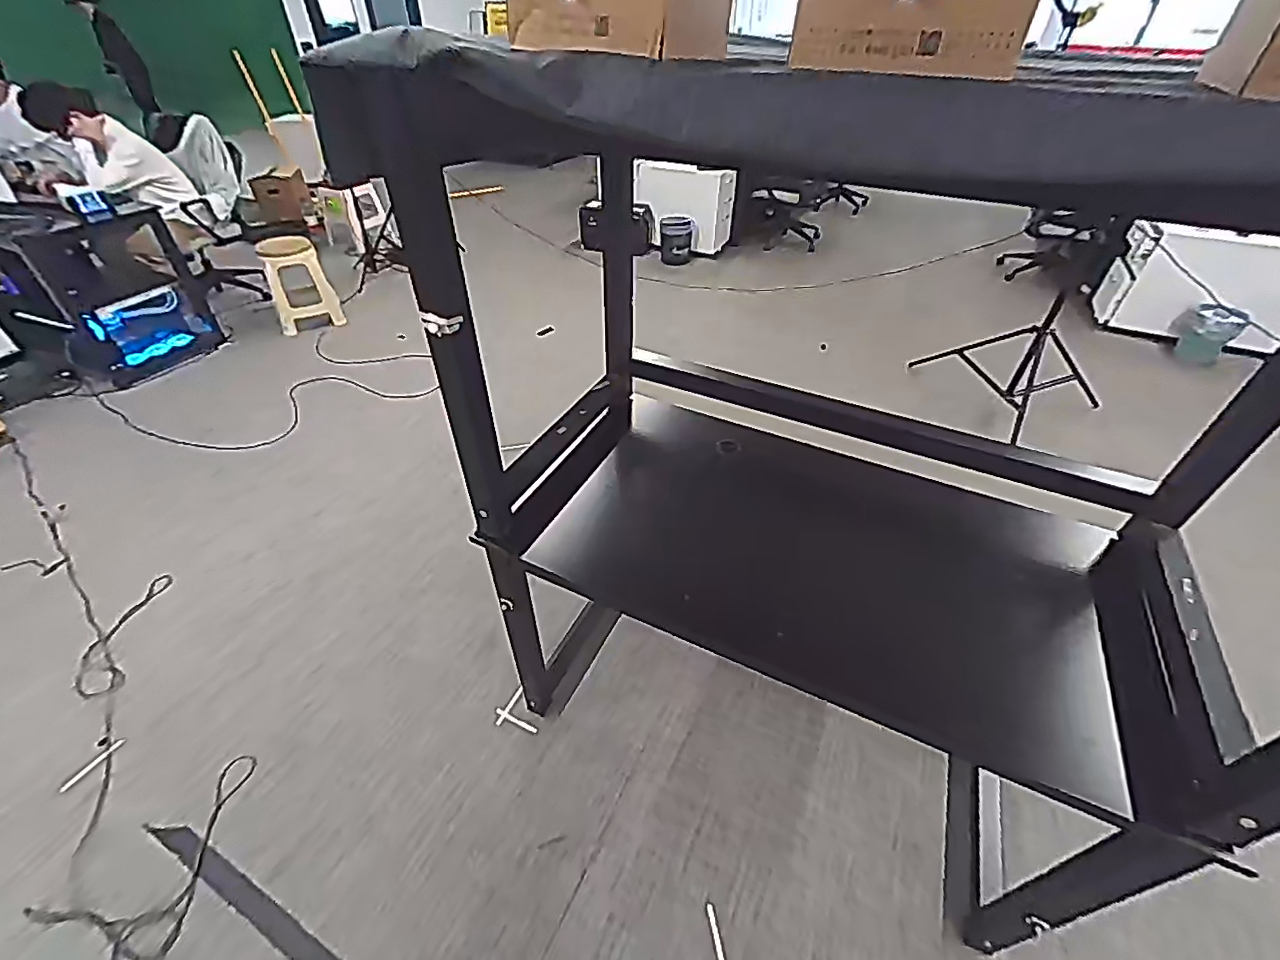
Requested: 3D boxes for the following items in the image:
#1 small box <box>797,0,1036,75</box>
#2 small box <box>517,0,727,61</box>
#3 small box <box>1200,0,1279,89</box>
[{"bbox_3d":[0.234,-0.427,0.418,0.168,0.176,0.179,19,42,20],"label":"small box"},{"bbox_3d":[-0.012,-0.508,0.506,0.168,0.176,0.179,19,43,18],"label":"small box"},{"bbox_3d":[0.504,-0.338,0.325,0.168,0.176,0.179,22,43,22],"label":"small box"}]
